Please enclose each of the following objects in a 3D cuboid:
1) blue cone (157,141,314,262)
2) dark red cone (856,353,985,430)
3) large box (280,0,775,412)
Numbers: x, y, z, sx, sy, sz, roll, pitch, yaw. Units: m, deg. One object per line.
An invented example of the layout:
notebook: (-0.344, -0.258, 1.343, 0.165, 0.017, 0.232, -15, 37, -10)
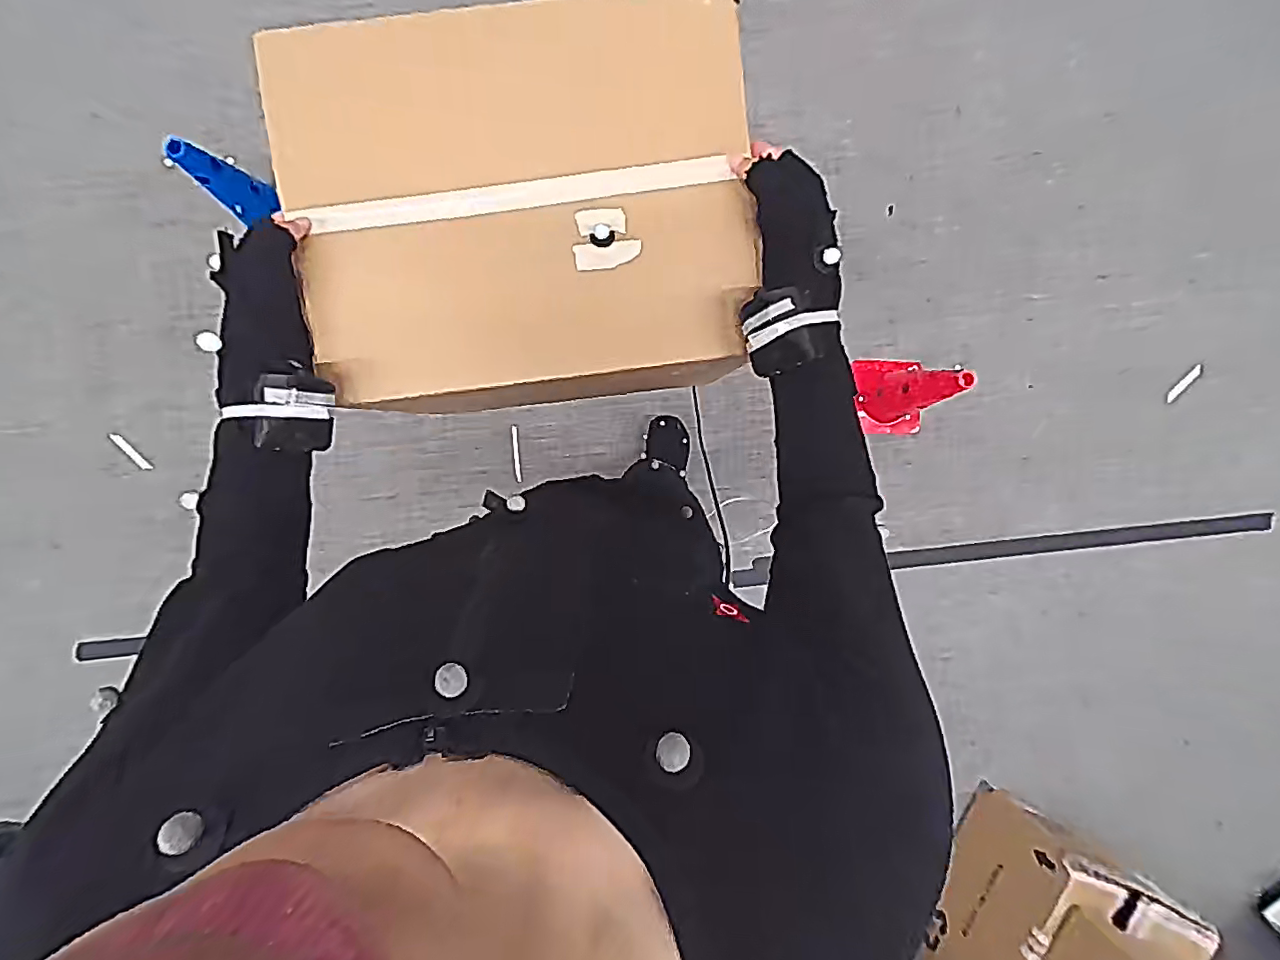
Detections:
blue cone: (-0.928, -0.664, 1.252, 0.192, 0.380, 0.193, -2, 93, -1)
dark red cone: (0.685, -0.229, 1.293, 0.201, 0.394, 0.202, 1, 93, -1)
large box: (-0.098, -0.262, 0.622, 0.408, 0.320, 0.320, -7, 96, -1)
